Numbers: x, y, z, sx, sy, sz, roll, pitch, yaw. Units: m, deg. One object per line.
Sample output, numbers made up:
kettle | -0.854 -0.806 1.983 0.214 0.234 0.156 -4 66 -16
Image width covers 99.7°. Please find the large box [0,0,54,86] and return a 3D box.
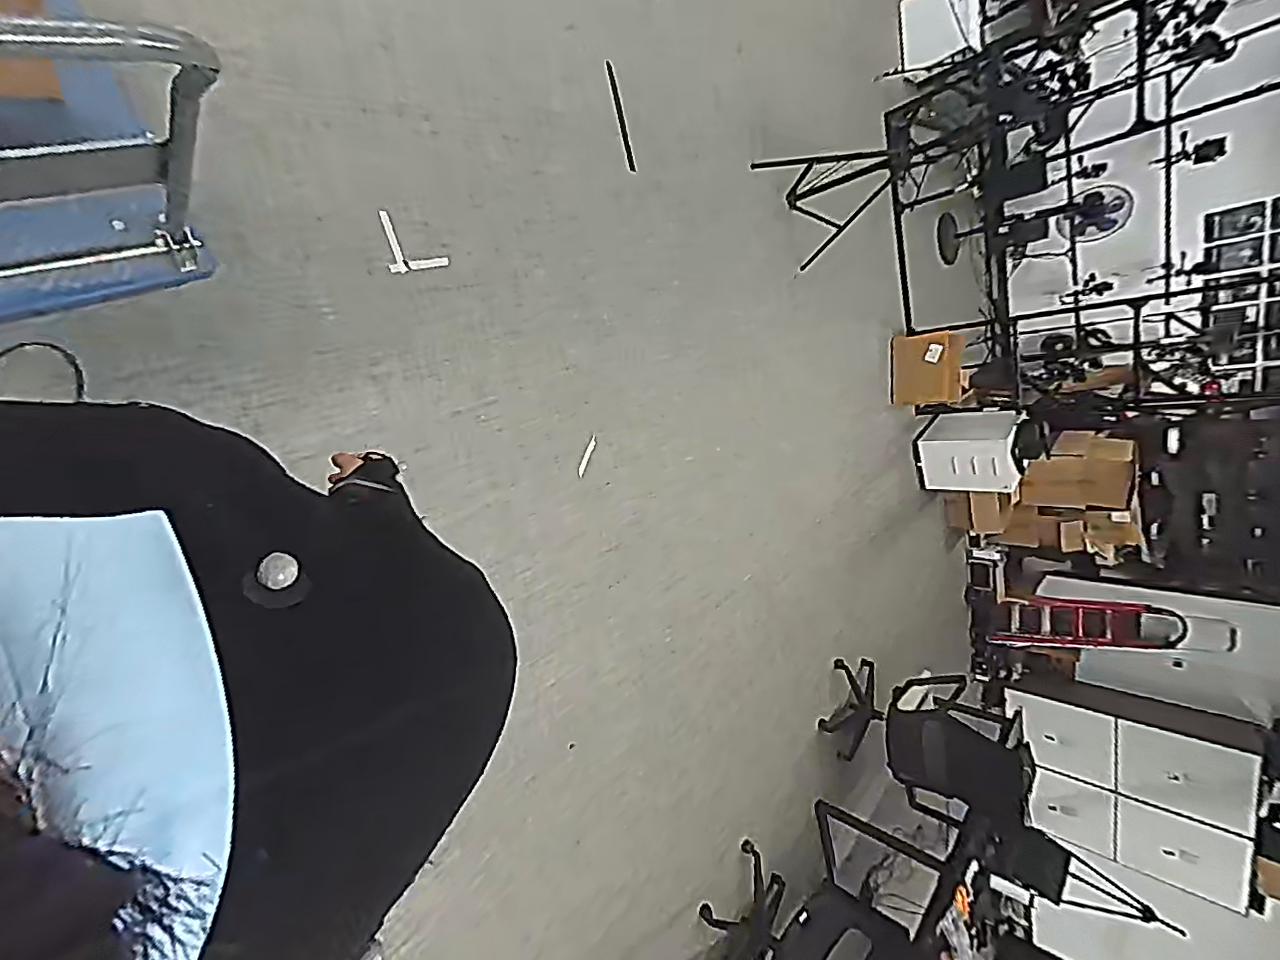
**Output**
large box | -1.061 -0.707 0.637 0.408 0.320 0.320 -32 112 -37
